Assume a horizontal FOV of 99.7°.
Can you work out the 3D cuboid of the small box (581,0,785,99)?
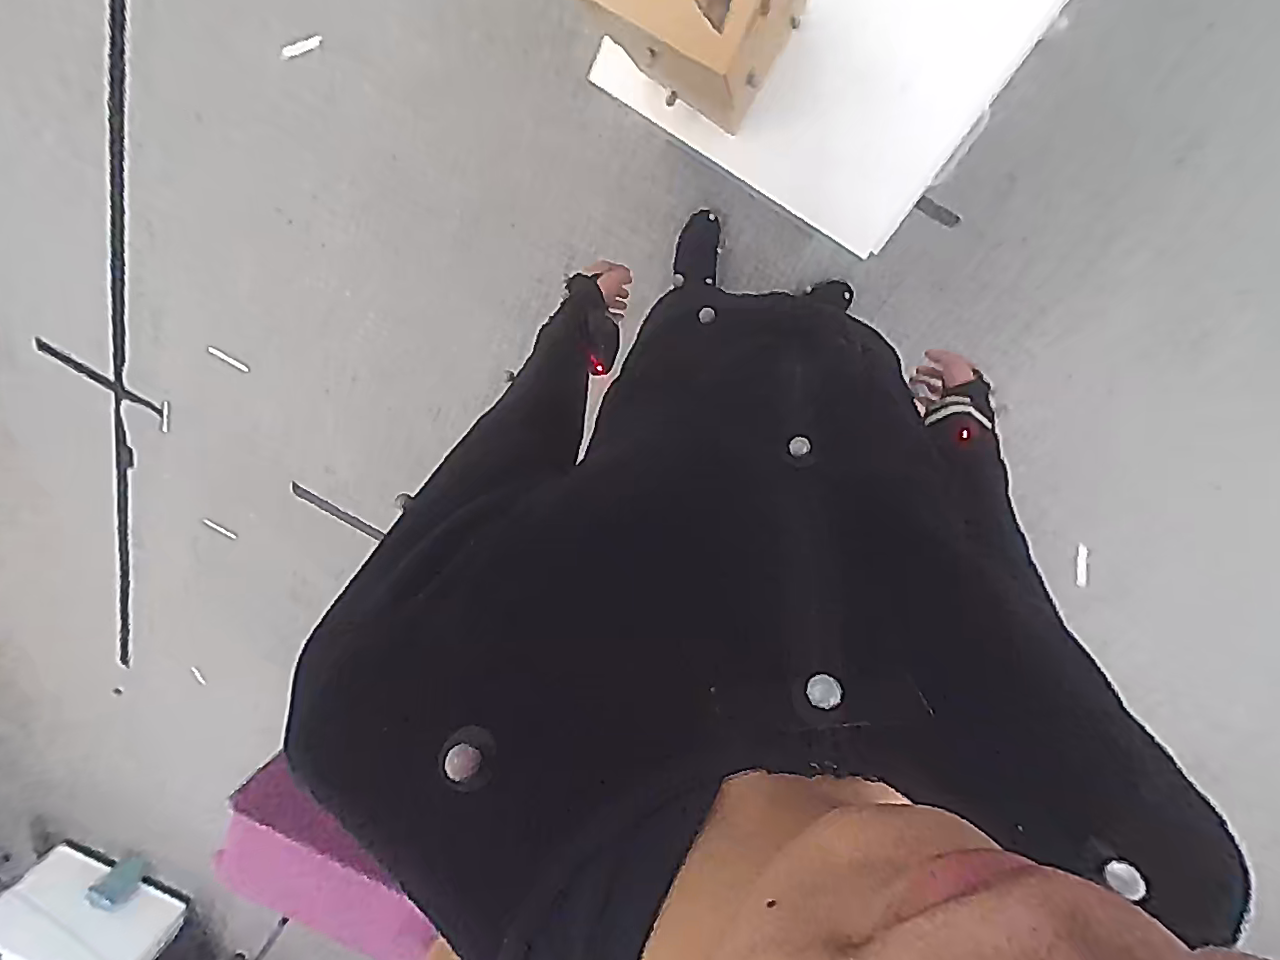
[{"bbox_3d":[0.060,-0.522,0.548,0.179,0.176,0.168,29,117,-1],"label":"small box"}]

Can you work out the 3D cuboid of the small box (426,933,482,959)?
[{"bbox_3d":[-0.670,1.715,1.860,0.168,0.176,0.179,29,118,-3],"label":"small box"}]

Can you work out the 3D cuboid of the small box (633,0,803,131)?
[{"bbox_3d":[0.097,-0.589,0.693,0.168,0.176,0.179,33,118,-4],"label":"small box"}]
